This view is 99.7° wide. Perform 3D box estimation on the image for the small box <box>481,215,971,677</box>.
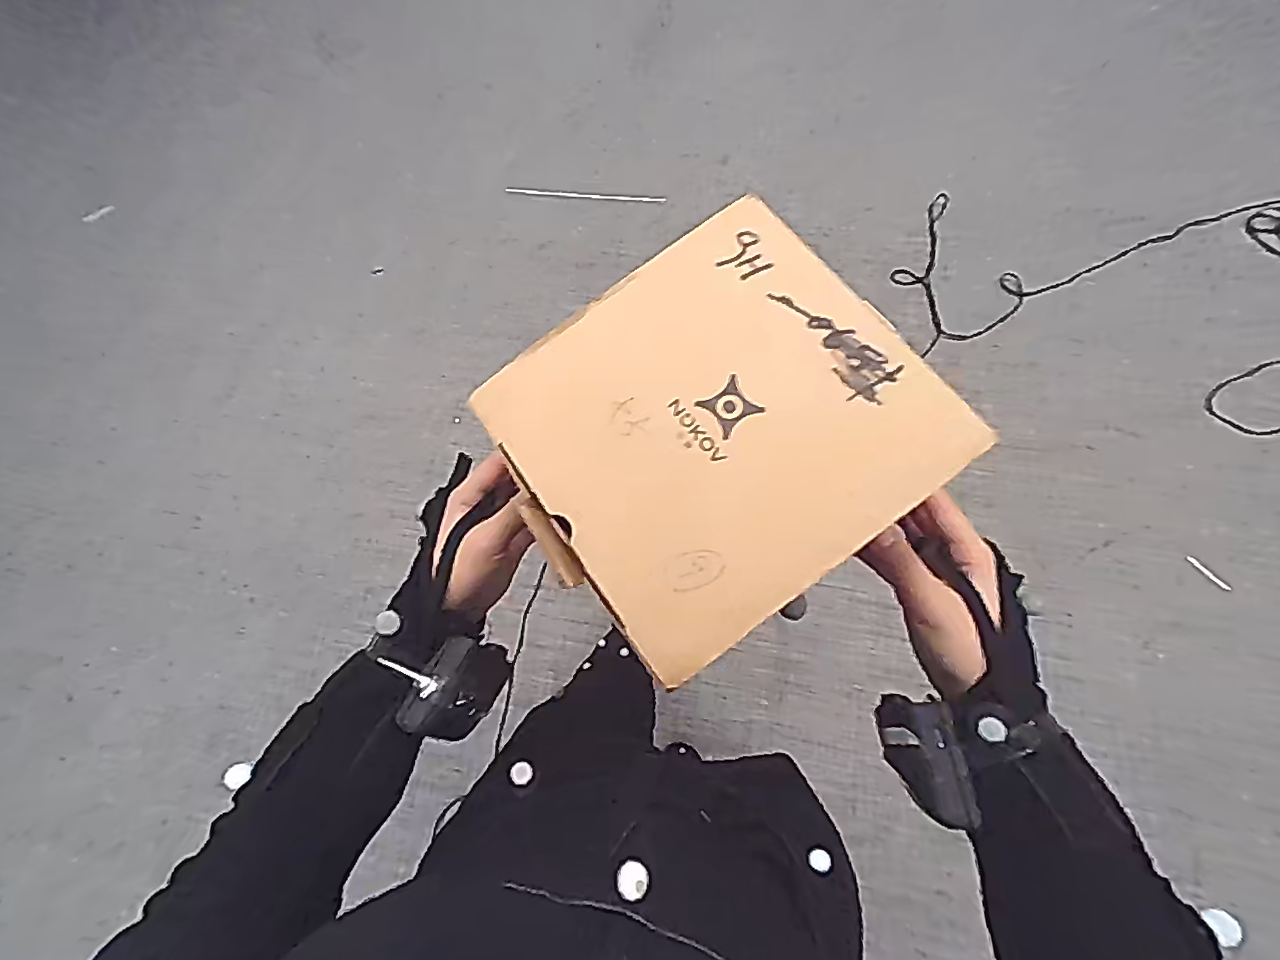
[{"bbox_3d":[0.044,-0.006,0.332,0.179,0.176,0.168,-36,75,-2],"label":"small box"}]
